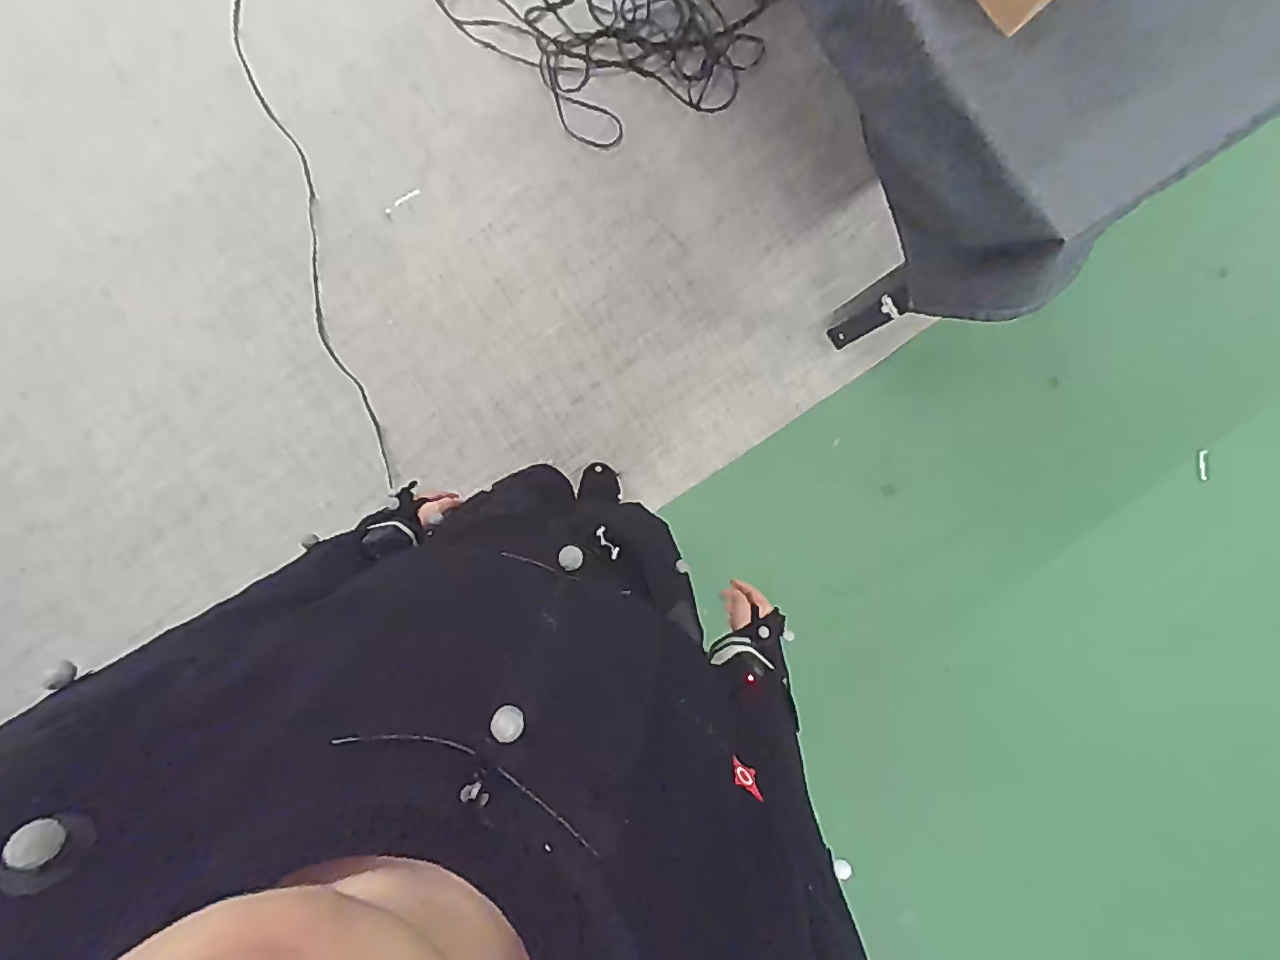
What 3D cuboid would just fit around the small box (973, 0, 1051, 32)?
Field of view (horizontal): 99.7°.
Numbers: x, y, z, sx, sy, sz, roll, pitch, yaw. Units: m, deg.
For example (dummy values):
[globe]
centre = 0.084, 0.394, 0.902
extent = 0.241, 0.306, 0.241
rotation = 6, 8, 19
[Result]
[small box]
centre = 0.429, -0.617, 0.532
extent = 0.179, 0.176, 0.168
rotation = -42, 91, 2
